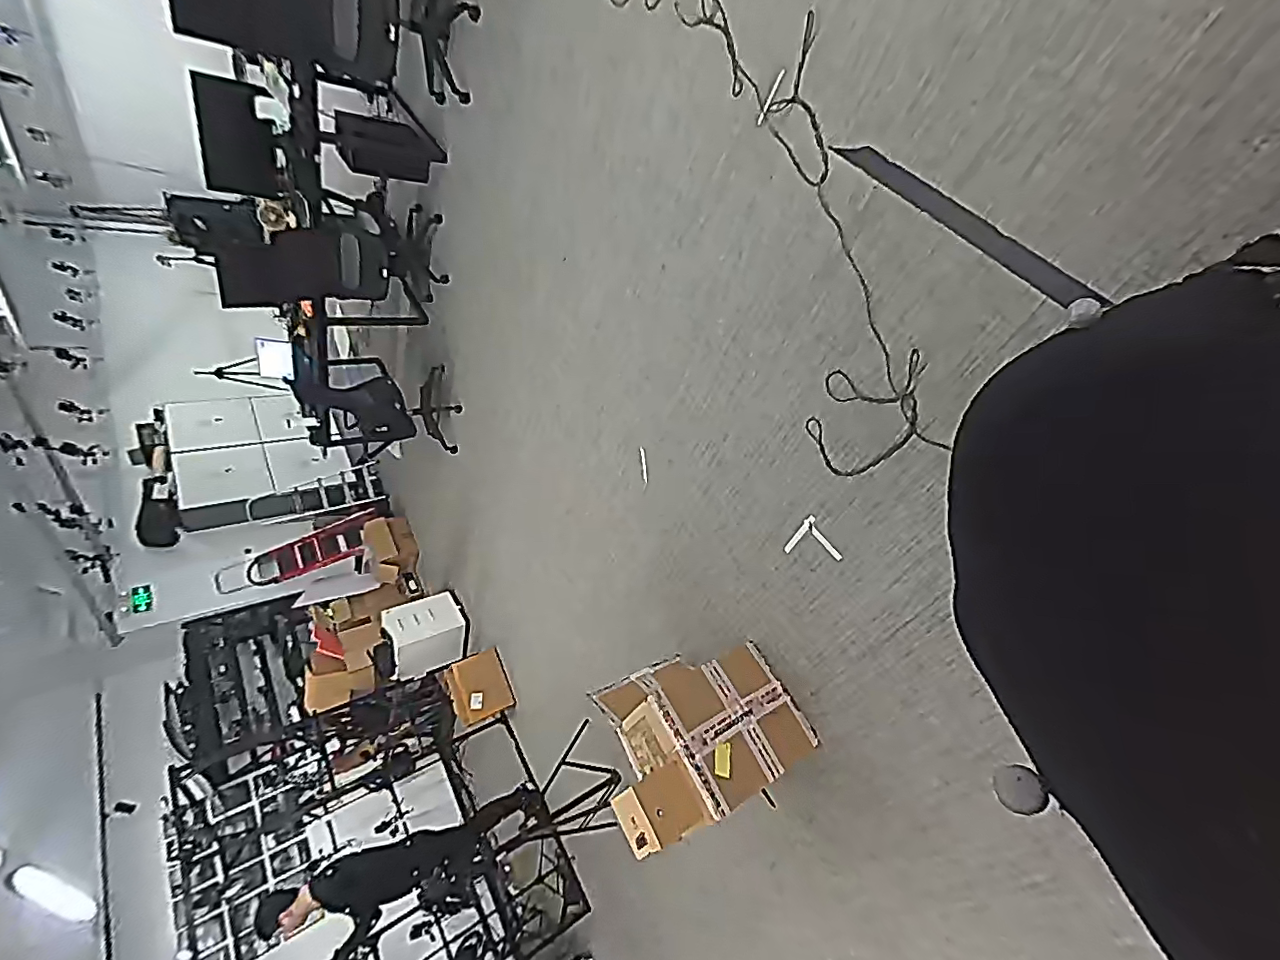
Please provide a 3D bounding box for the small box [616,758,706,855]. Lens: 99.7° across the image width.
[{"bbox_3d":[0.064,0.971,1.613,0.179,0.176,0.168,57,136,26],"label":"small box"}]
